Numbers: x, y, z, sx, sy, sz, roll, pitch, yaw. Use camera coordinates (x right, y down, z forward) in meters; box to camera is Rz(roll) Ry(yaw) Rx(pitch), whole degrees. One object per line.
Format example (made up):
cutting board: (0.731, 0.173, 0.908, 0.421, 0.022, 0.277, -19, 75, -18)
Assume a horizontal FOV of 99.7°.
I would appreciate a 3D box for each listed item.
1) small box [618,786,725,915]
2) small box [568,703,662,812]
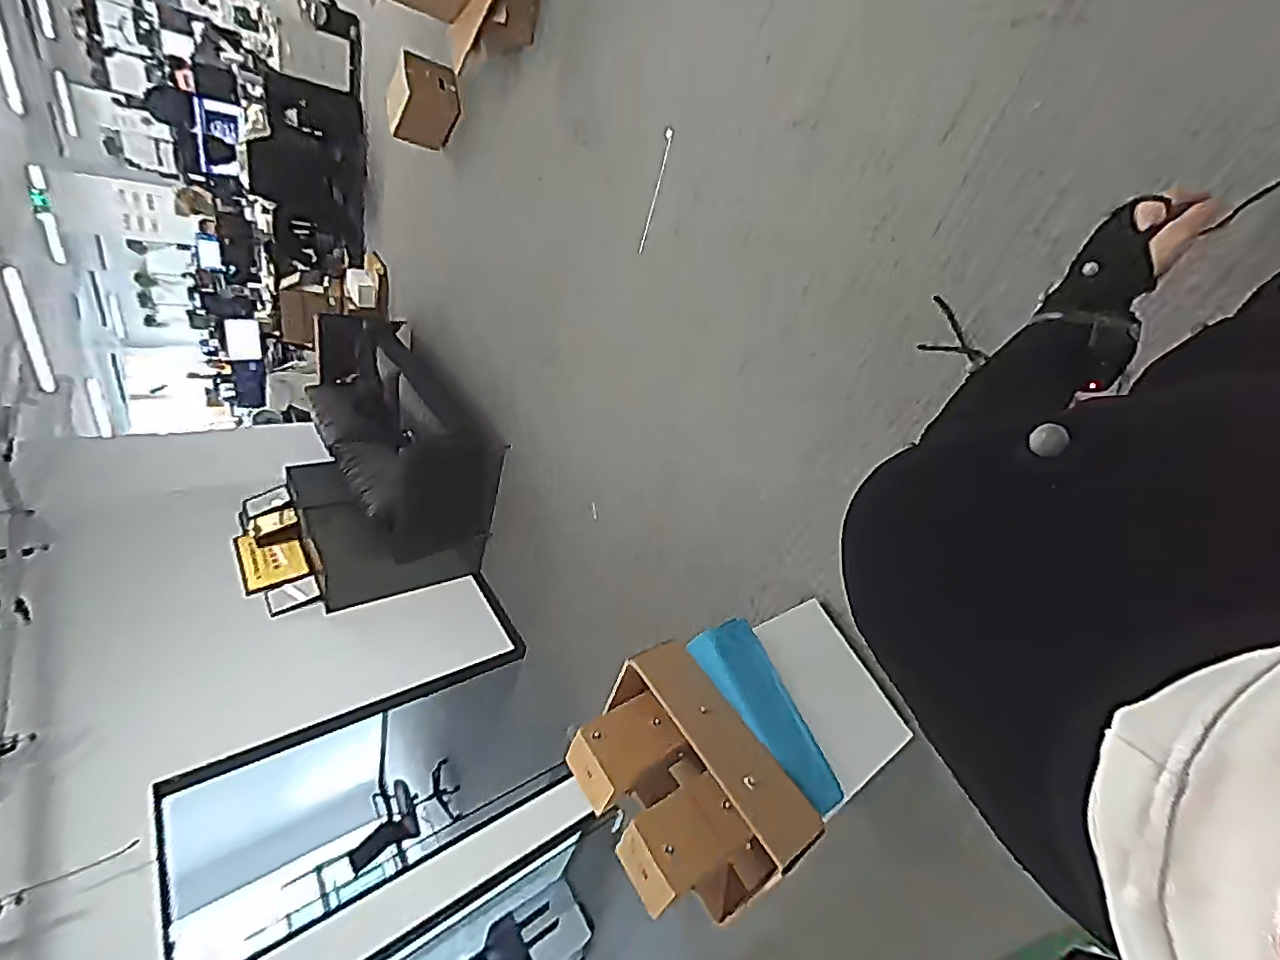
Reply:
small box: (0.077, 0.894, 1.316, 0.179, 0.176, 0.168, 47, 132, 35)
small box: (-0.066, 0.744, 1.463, 0.179, 0.176, 0.168, 47, 132, 33)
